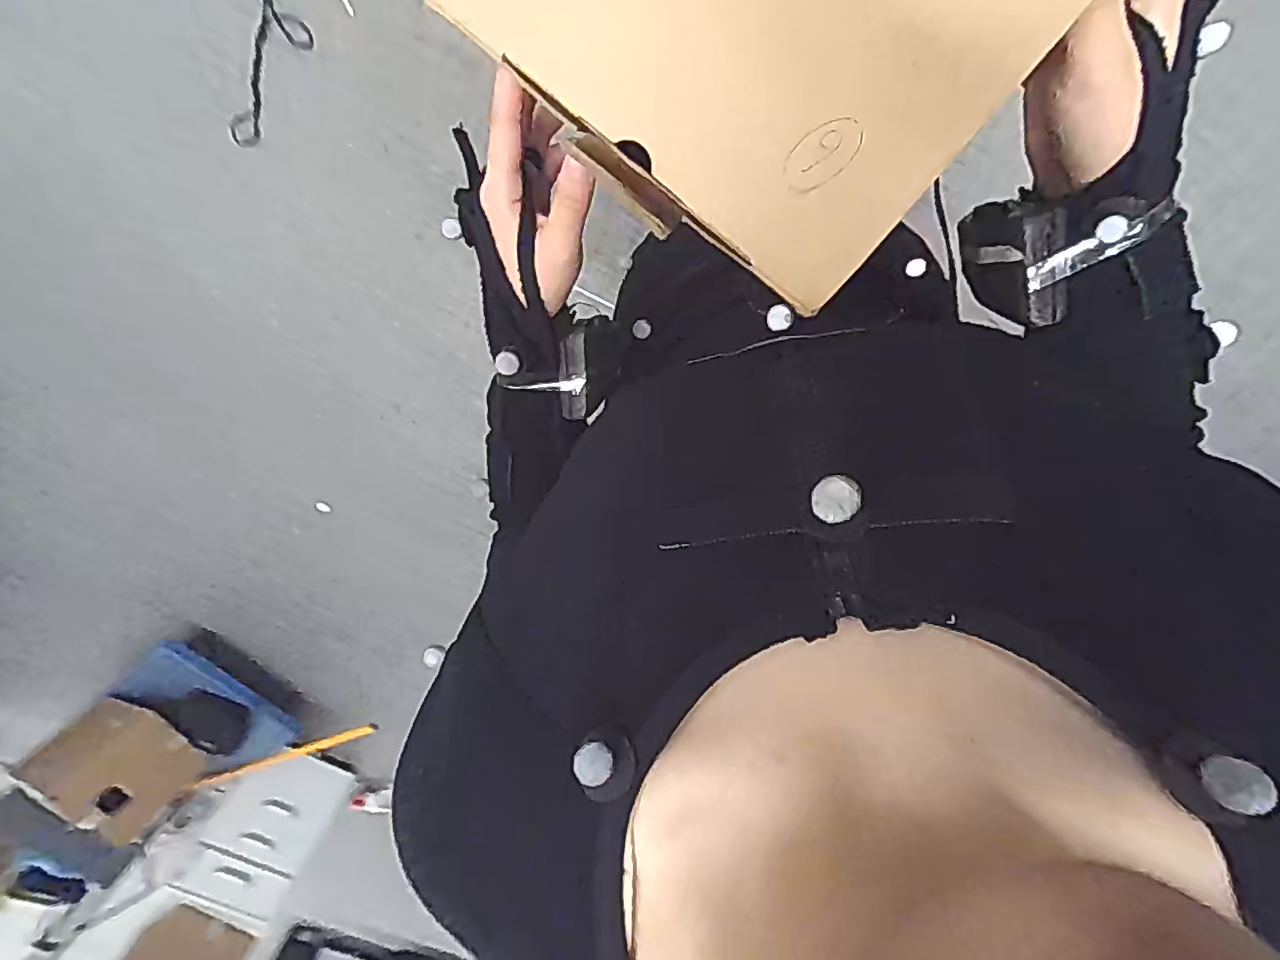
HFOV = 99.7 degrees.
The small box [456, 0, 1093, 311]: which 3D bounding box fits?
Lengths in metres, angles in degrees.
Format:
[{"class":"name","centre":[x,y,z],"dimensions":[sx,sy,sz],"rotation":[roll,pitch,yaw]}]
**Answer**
[{"class":"small box","centre":[0.062,-0.205,0.227],"dimensions":[0.168,0.176,0.179],"rotation":[35,118,-11]}]
